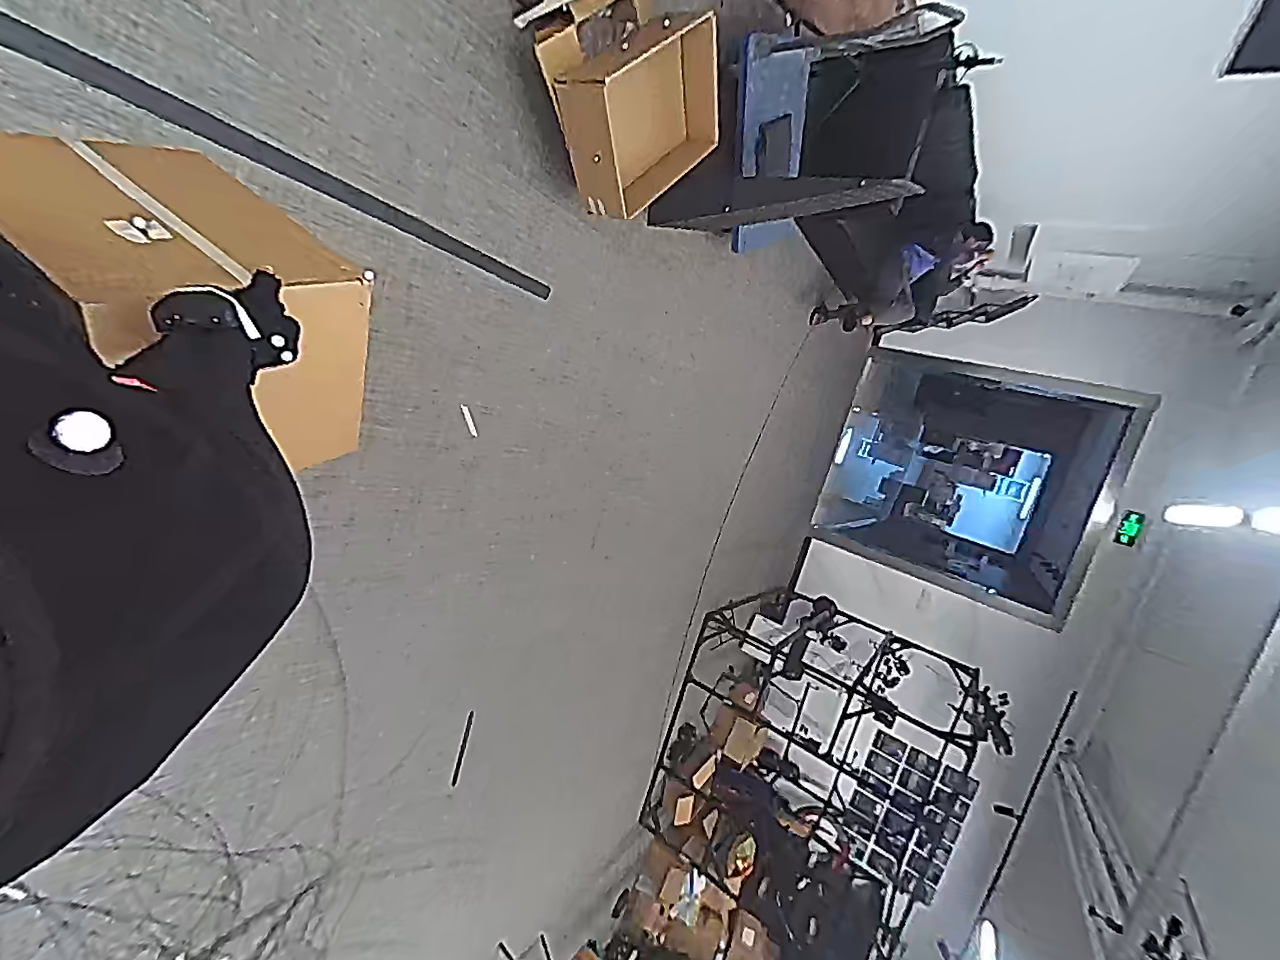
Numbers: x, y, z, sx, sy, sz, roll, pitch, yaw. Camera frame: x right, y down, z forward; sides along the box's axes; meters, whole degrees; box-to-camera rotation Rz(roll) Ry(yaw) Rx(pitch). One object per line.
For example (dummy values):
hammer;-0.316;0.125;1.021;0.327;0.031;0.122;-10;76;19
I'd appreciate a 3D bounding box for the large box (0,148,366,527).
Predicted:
large box;-0.671;-0.210;0.768;0.320;0.408;0.320;-37;159;-51
